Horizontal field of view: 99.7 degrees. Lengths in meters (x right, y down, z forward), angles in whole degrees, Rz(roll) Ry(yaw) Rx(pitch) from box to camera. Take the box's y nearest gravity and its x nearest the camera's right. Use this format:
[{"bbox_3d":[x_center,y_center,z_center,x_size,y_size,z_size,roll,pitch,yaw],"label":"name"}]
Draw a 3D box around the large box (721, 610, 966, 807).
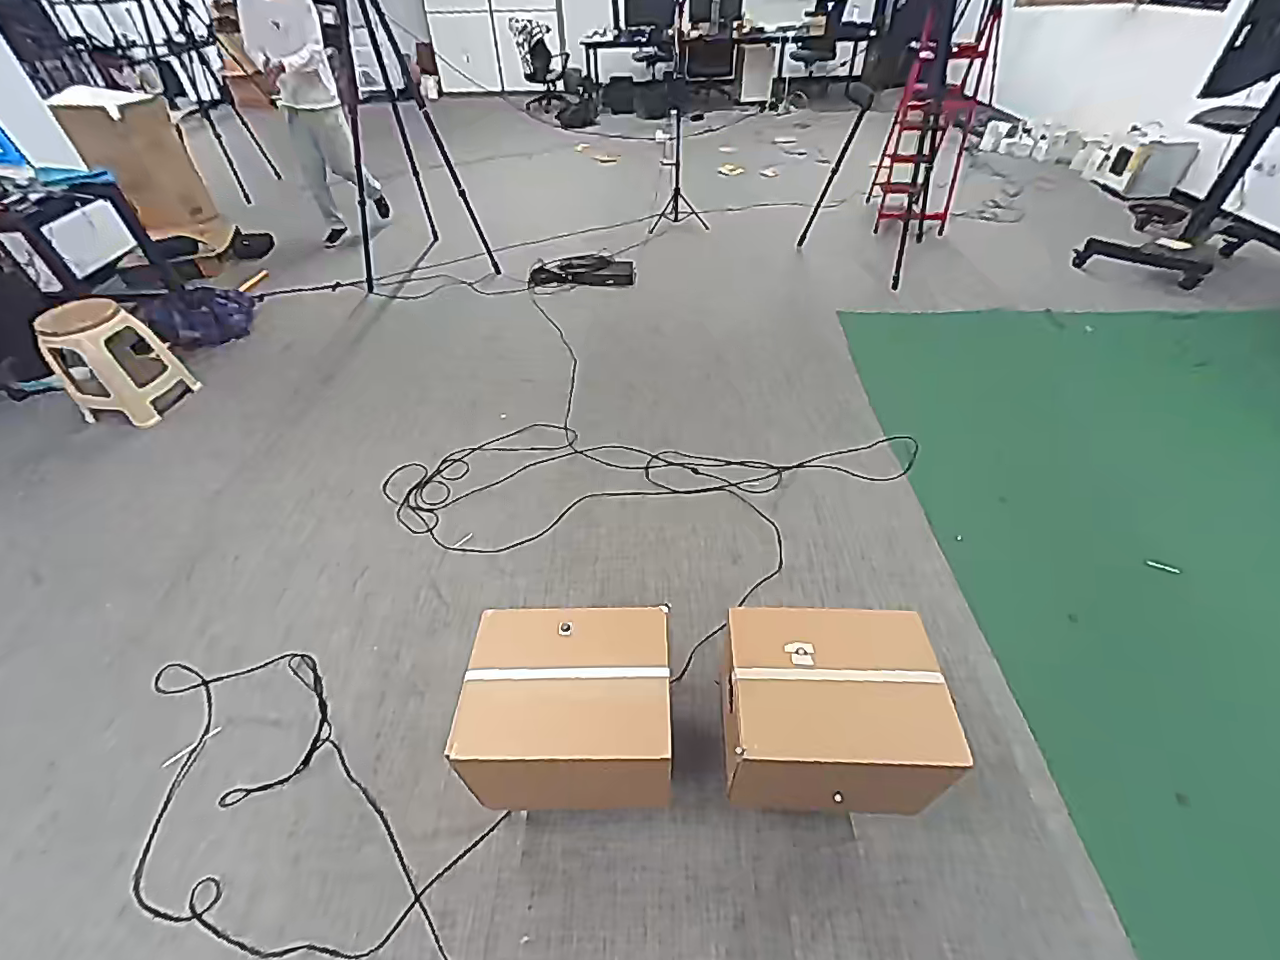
[{"bbox_3d":[0.395,0.498,1.175,0.408,0.320,0.320,0,44,3],"label":"large box"}]
